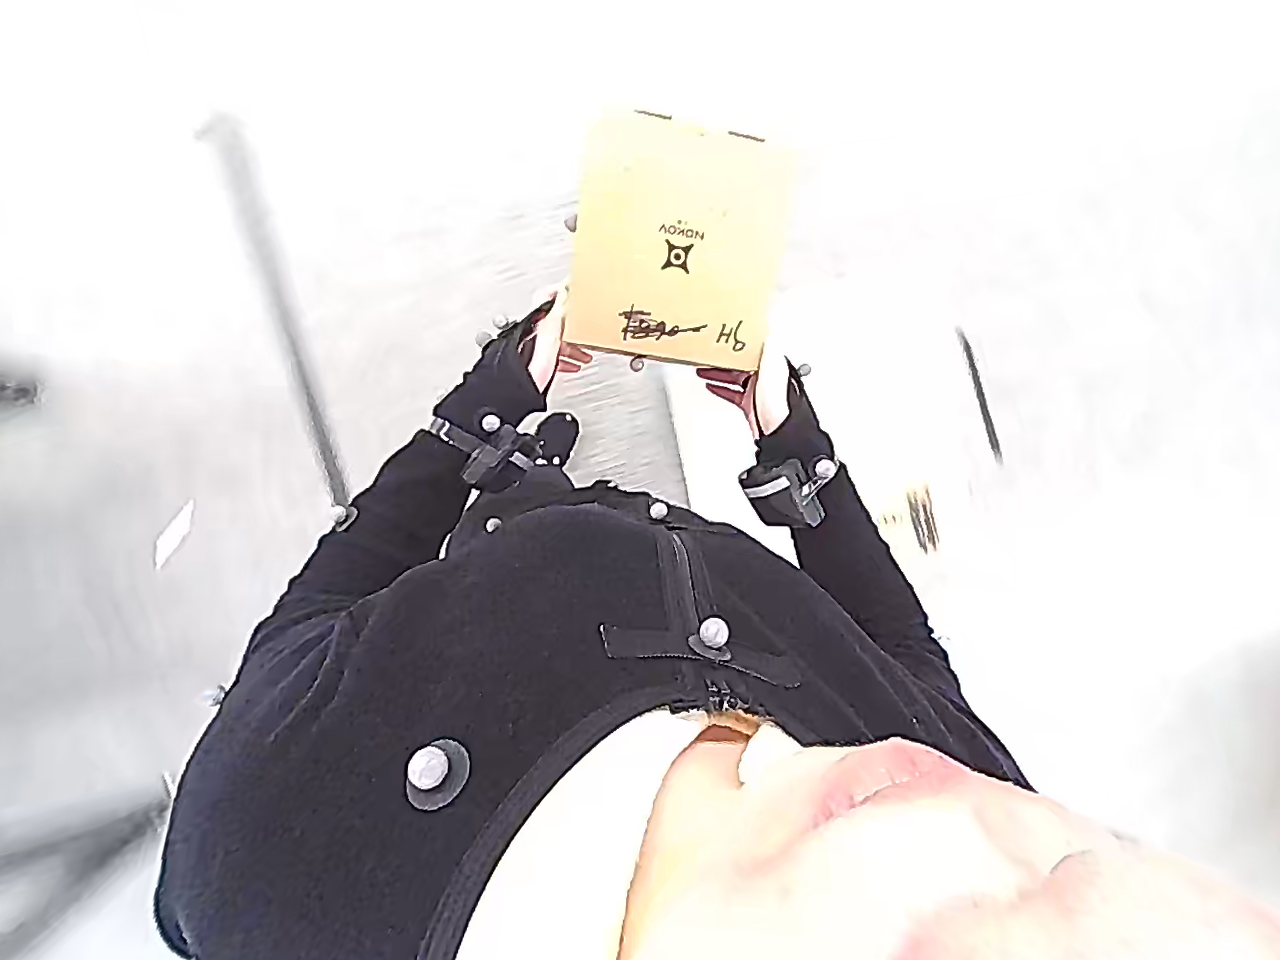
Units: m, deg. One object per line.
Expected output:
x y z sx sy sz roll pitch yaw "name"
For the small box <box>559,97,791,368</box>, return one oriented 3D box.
0.017 -0.203 0.499 0.168 0.176 0.179 7 102 -8 "small box"
